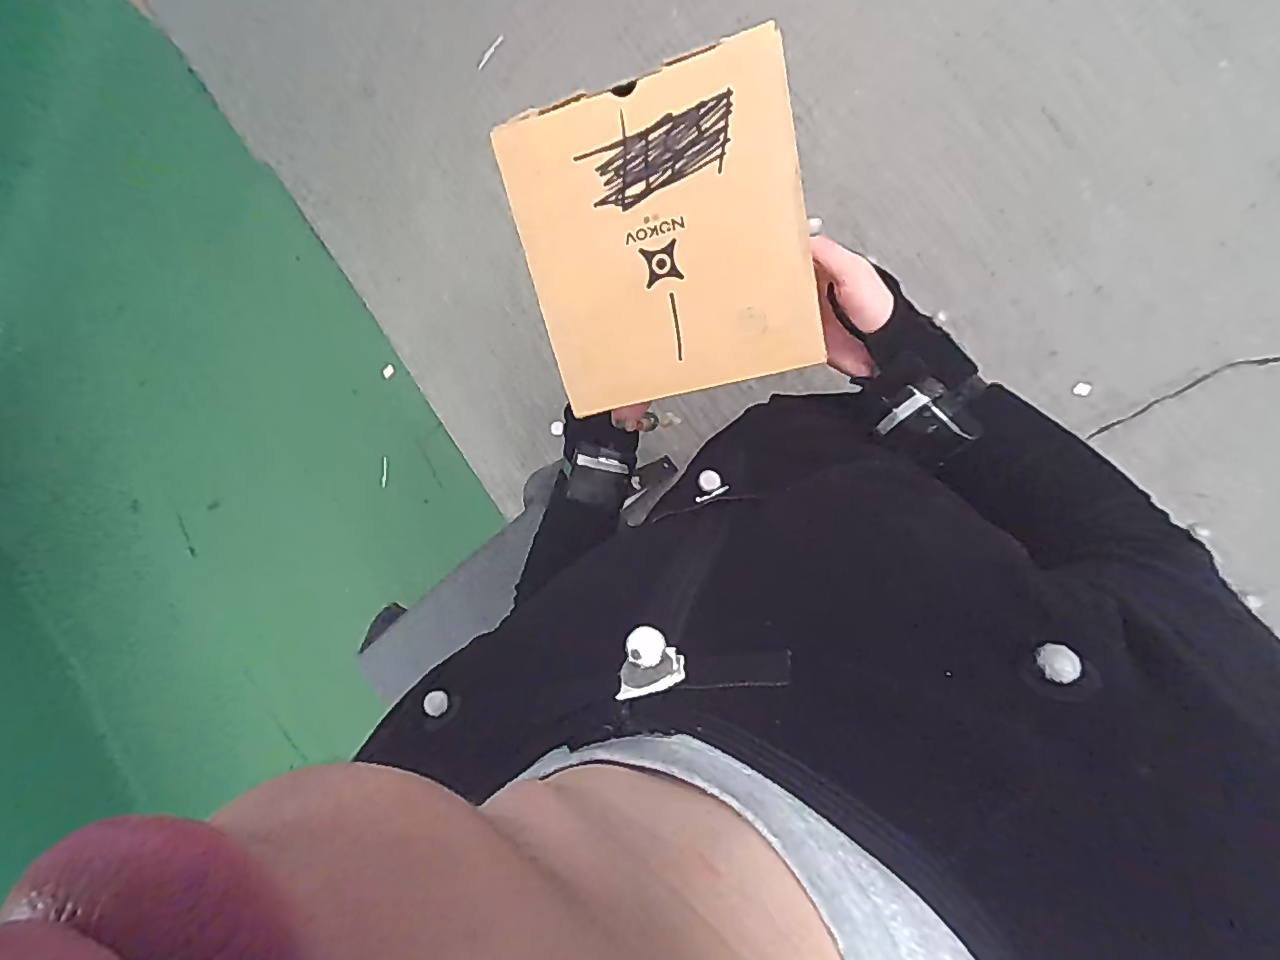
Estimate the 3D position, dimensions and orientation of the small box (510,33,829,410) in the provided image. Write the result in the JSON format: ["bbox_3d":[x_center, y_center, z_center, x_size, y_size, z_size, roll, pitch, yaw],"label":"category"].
[{"bbox_3d":[0.034,-0.165,0.393,0.168,0.176,0.179,-9,109,16],"label":"small box"}]
